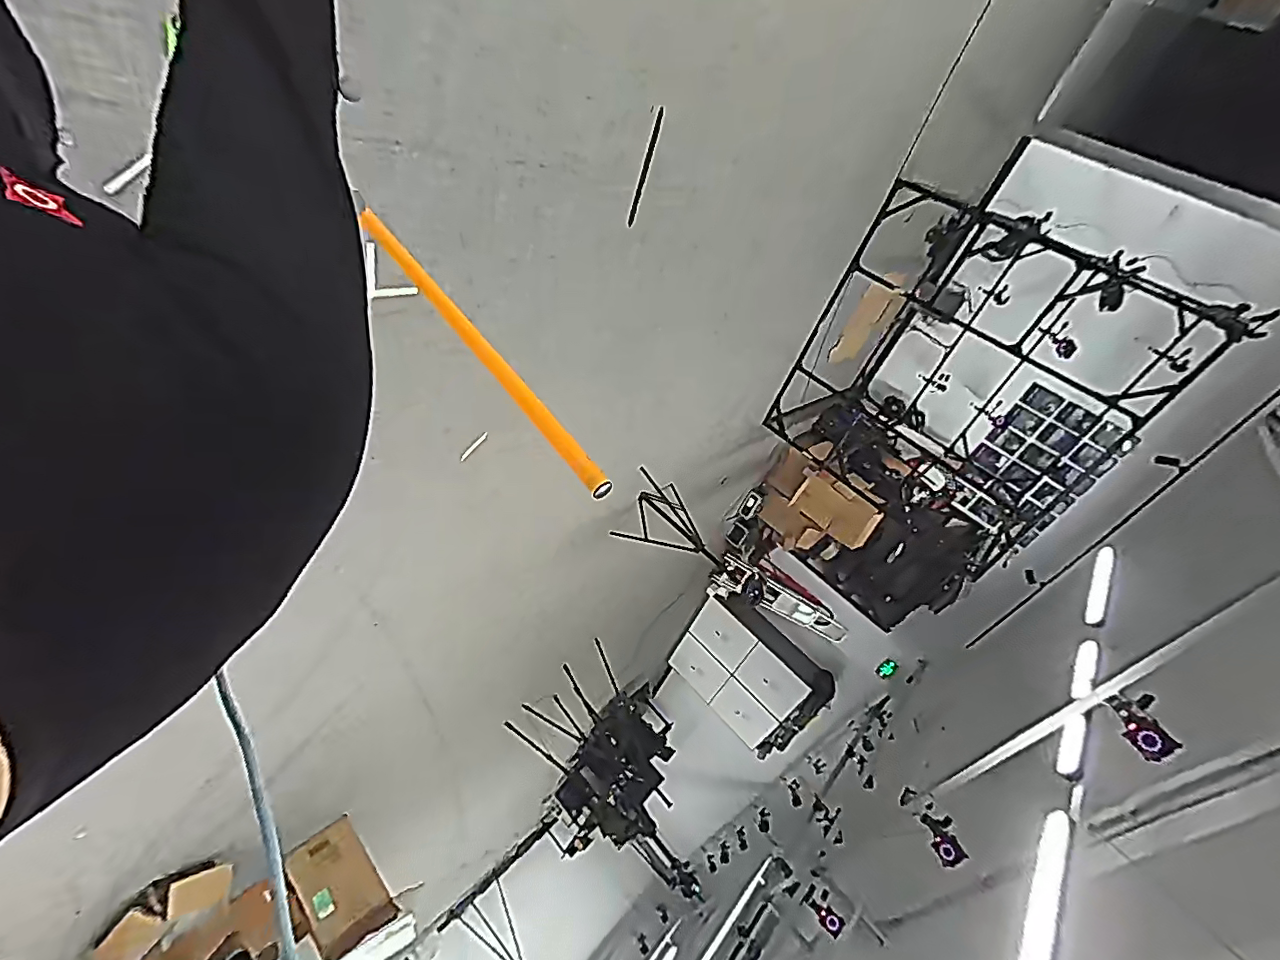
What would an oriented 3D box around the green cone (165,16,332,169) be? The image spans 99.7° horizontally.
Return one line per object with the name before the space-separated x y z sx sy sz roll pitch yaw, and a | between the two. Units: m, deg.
green cone | -0.683 -0.662 1.002 0.202 0.368 0.200 -22 145 -48
